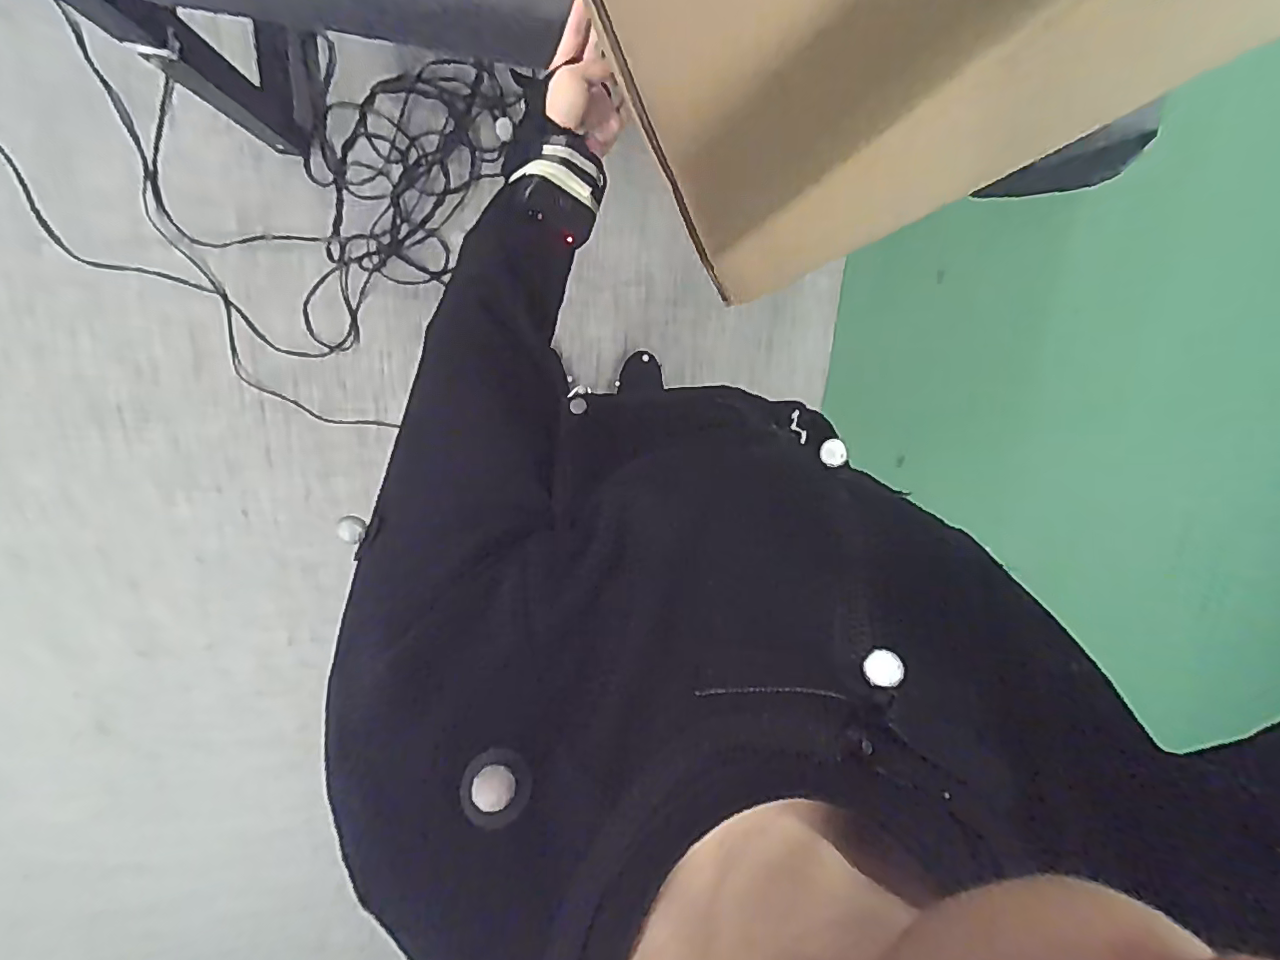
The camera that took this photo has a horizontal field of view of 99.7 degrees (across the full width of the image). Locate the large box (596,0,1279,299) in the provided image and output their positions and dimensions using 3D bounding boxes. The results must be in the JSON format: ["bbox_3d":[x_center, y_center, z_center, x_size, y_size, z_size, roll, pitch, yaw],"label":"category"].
[{"bbox_3d":[0.148,-0.357,0.237,0.408,0.320,0.320,-25,78,16],"label":"large box"}]
